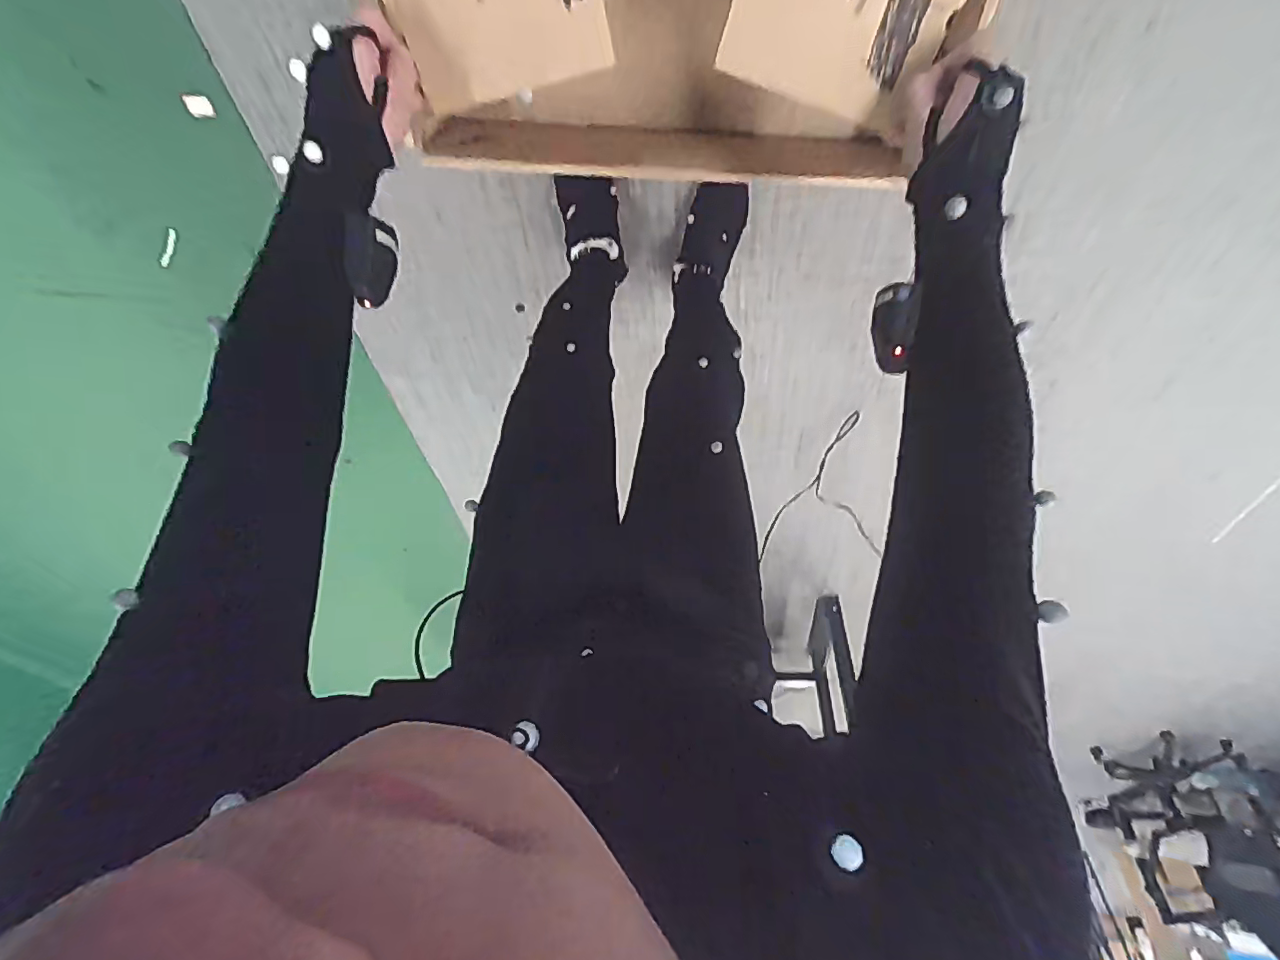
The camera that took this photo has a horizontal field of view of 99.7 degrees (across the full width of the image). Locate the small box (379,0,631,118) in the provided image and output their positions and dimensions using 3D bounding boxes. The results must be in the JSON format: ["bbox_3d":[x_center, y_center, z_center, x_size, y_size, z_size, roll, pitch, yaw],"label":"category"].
[{"bbox_3d":[-0.117,-0.442,0.472,0.179,0.176,0.168,-7,131,13],"label":"small box"}]

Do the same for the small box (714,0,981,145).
[{"bbox_3d":[0.178,-0.427,0.465,0.179,0.176,0.168,18,135,-5],"label":"small box"}]
